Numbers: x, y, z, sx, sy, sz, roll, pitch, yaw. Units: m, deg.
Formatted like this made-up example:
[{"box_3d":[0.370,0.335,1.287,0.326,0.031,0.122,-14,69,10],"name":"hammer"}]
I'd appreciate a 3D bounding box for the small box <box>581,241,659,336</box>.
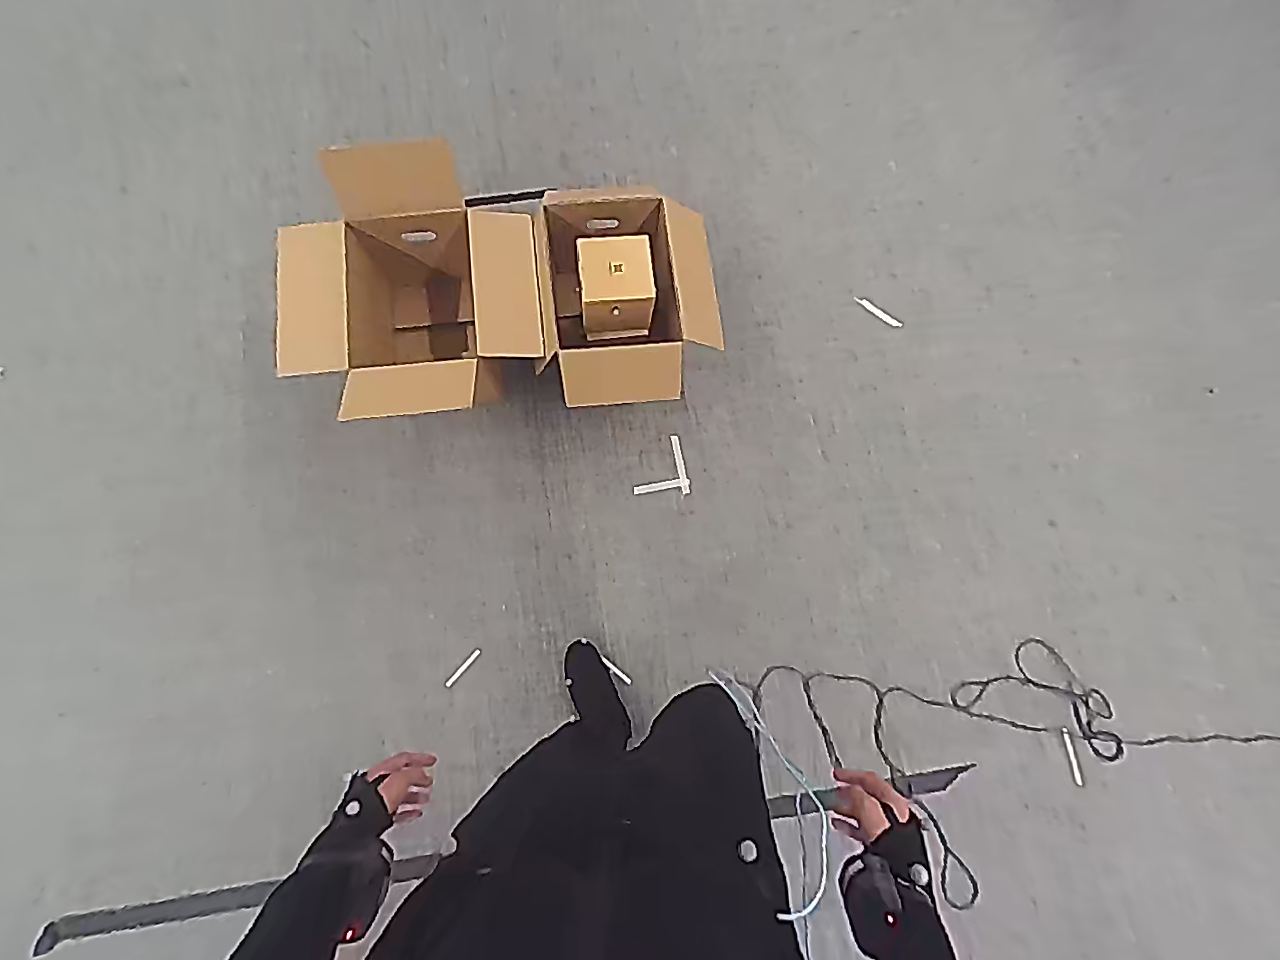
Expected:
[{"box_3d":[-0.054,-0.476,1.363,0.179,0.176,0.168,-6,80,-4],"name":"small box"}]
